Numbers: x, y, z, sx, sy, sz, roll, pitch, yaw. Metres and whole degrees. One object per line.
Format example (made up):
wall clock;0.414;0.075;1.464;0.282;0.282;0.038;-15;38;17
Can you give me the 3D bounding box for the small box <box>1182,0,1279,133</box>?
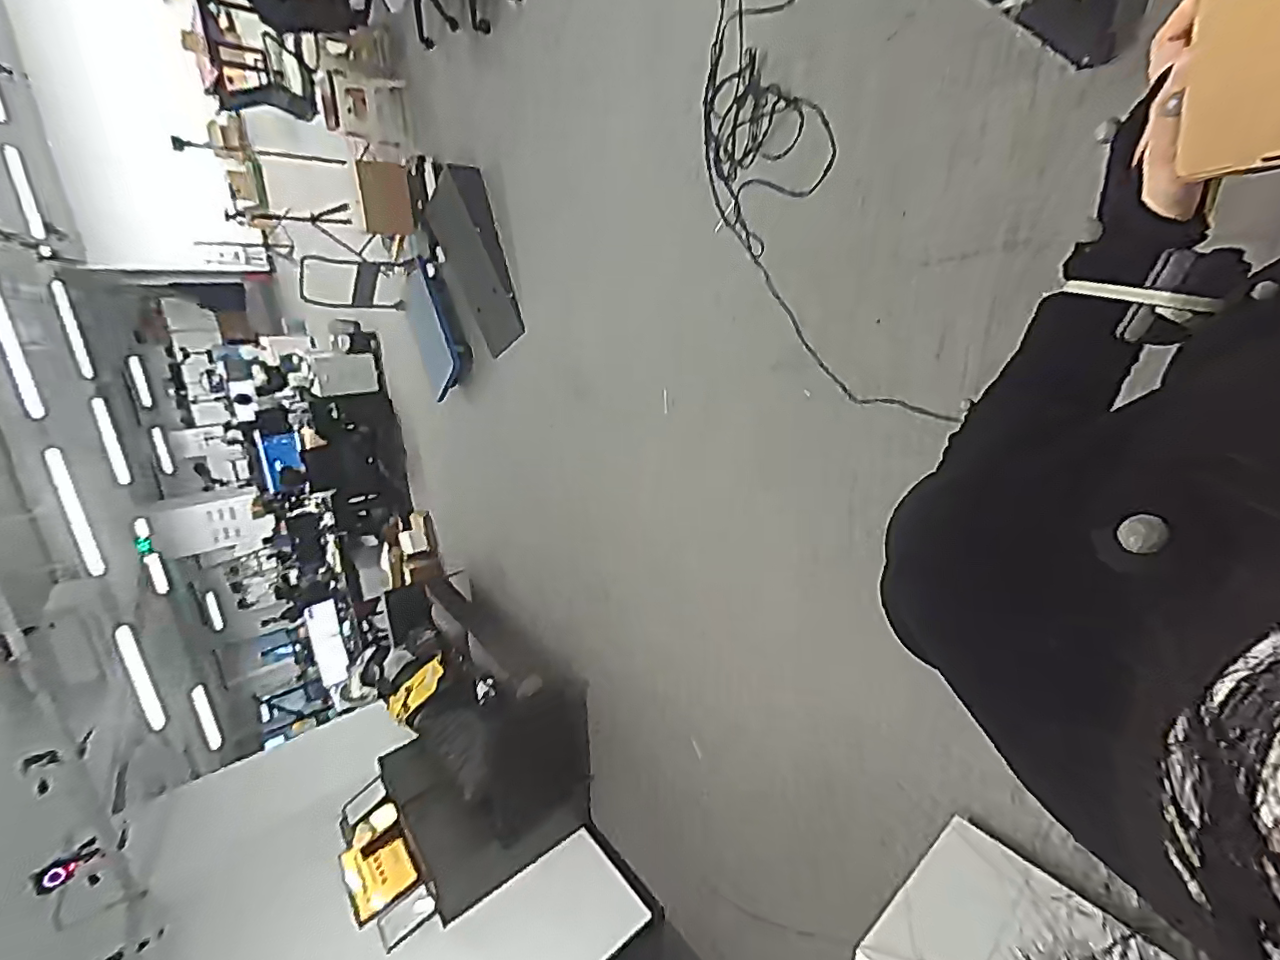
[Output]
small box;0.364;-0.265;0.221;0.168;0.176;0.179;14;121;53
